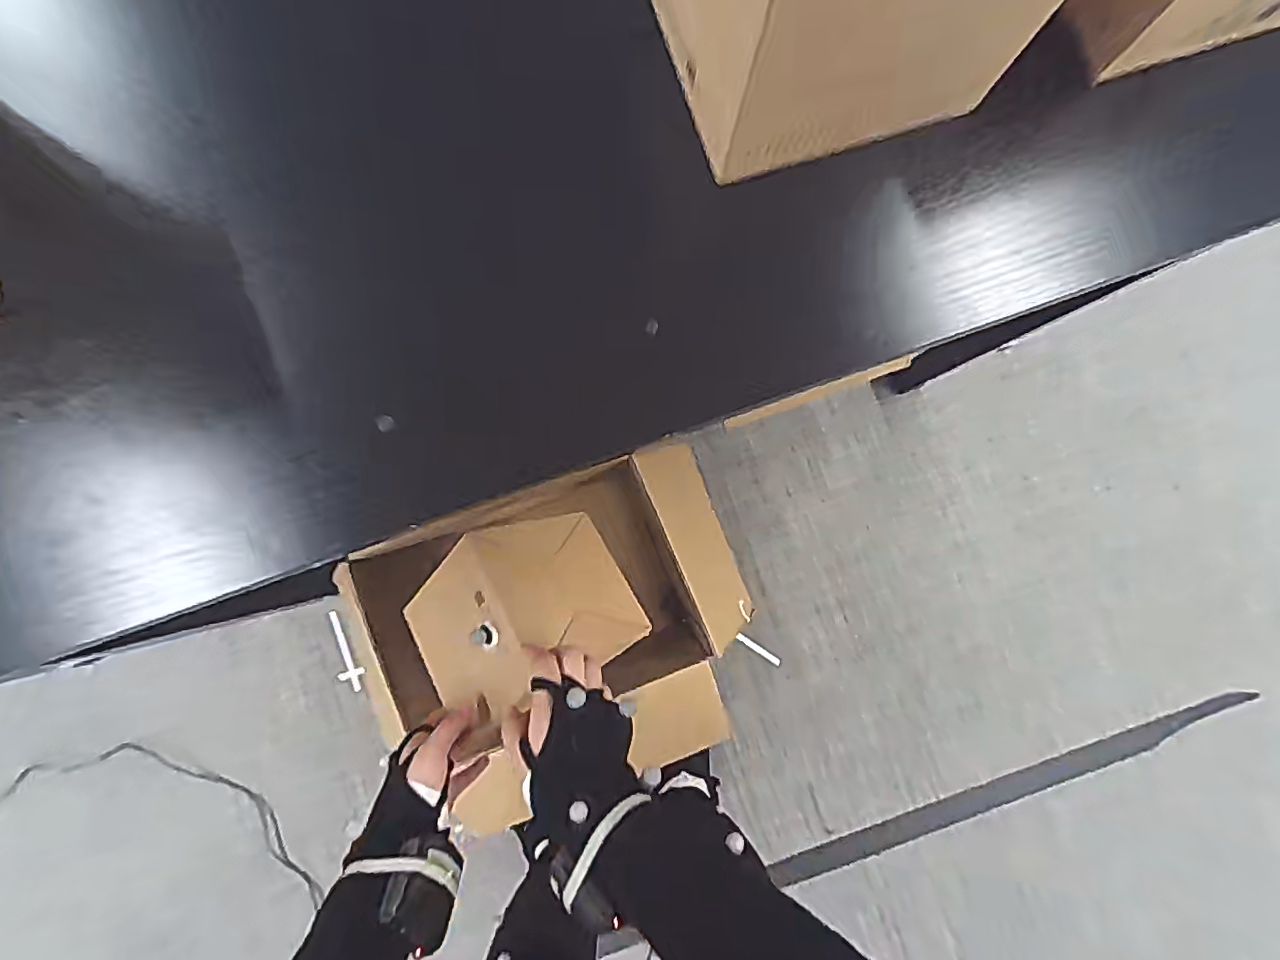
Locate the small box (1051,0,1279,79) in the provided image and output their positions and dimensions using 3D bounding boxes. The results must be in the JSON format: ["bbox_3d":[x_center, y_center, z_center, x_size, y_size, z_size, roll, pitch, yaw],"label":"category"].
[{"bbox_3d":[0.338,-0.367,0.280,0.168,0.176,0.179,-18,85,-3],"label":"small box"}]
